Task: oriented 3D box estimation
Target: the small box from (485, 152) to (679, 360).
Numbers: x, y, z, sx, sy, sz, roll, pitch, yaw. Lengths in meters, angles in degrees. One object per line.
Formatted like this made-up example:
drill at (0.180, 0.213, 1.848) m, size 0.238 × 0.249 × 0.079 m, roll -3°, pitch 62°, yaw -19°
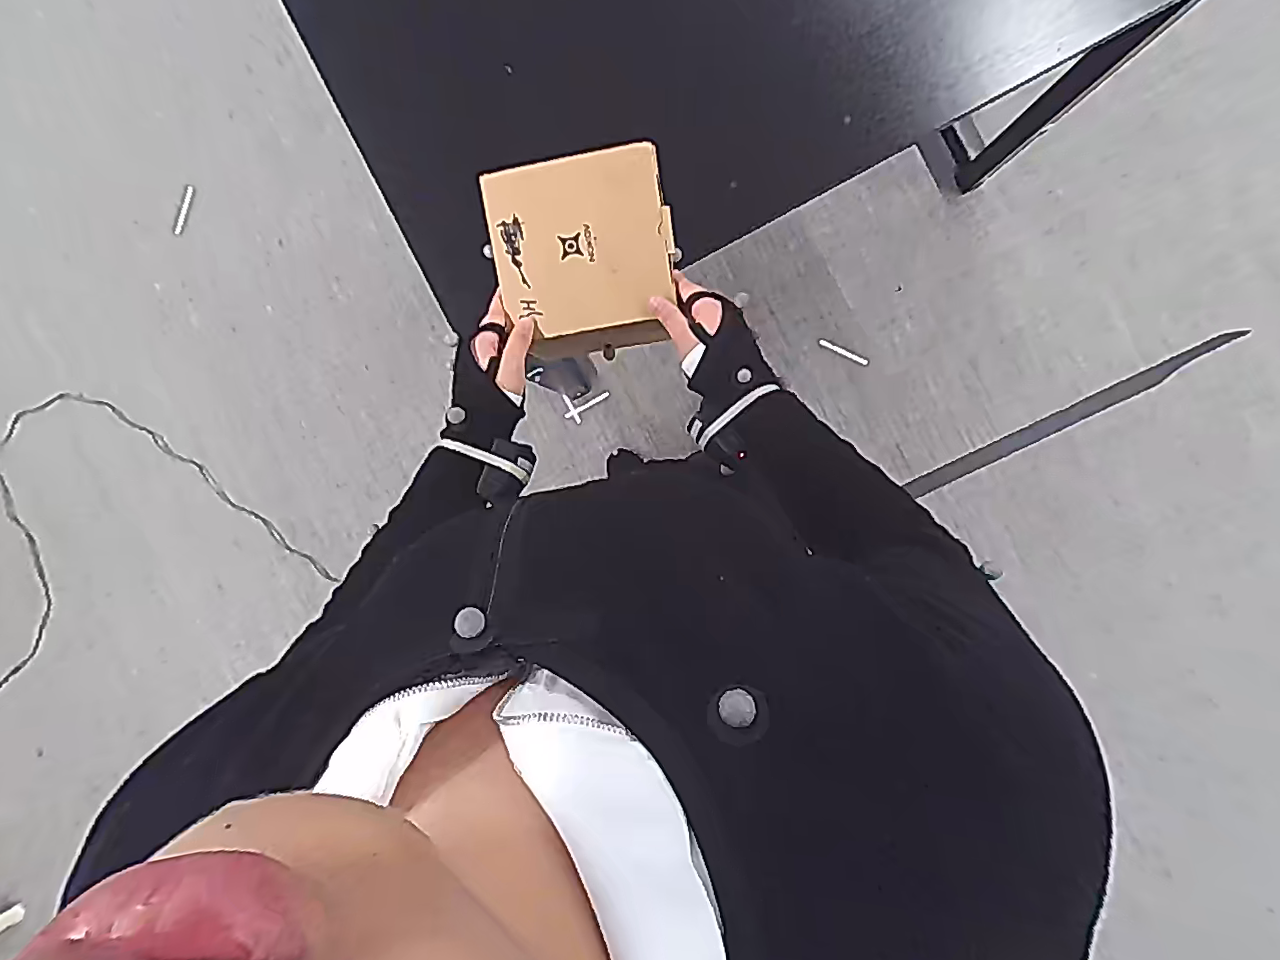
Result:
small box at (-0.056, -0.237, 0.615) m, size 0.179 × 0.176 × 0.168 m, roll -8°, pitch 96°, yaw 2°
